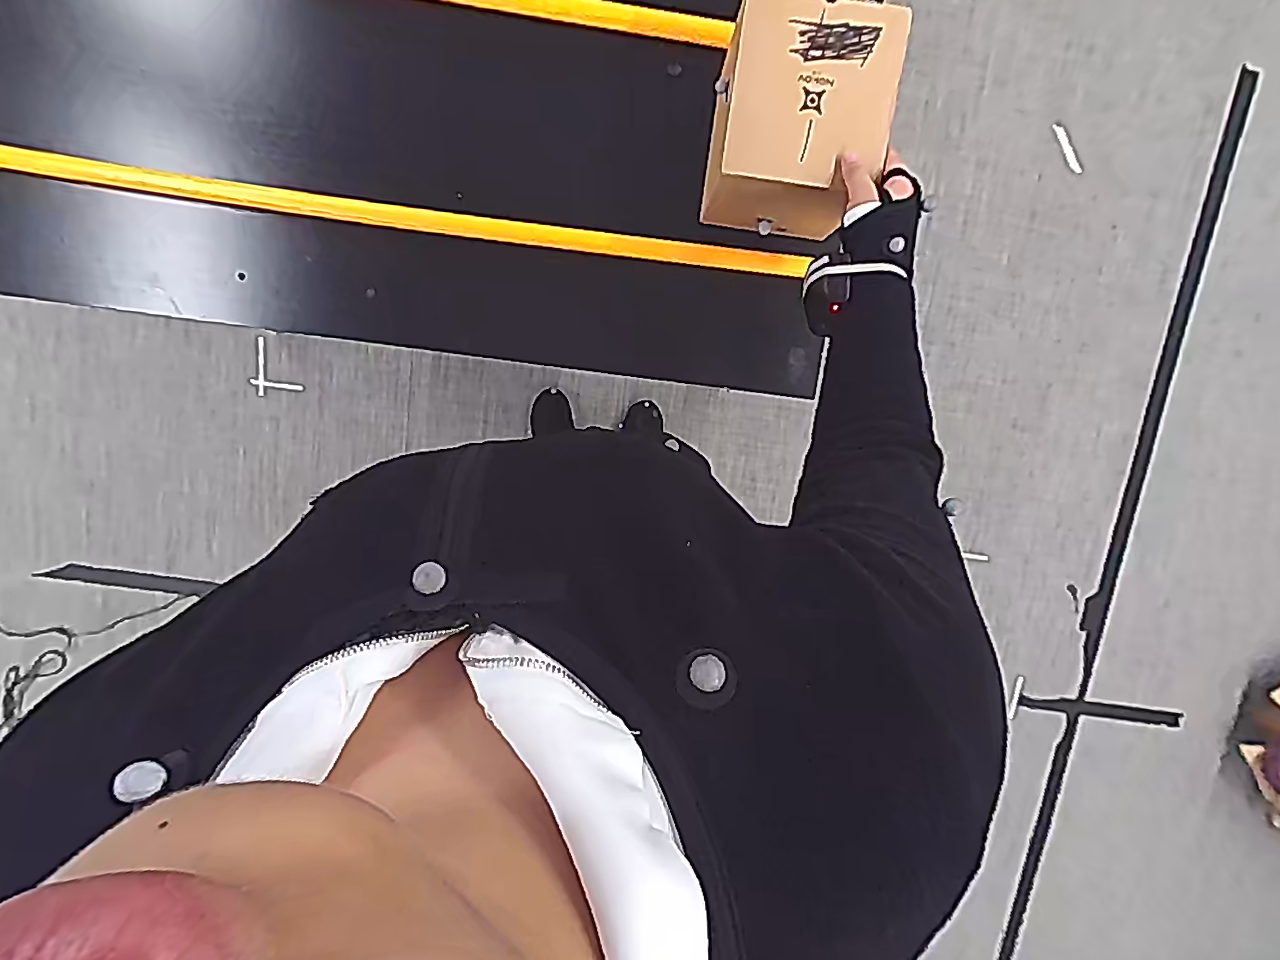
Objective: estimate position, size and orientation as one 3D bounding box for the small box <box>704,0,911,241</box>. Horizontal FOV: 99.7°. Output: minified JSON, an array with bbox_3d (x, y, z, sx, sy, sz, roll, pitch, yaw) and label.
[{"bbox_3d":[0.173,-0.397,0.618,0.168,0.176,0.179,8,99,-2],"label":"small box"}]
